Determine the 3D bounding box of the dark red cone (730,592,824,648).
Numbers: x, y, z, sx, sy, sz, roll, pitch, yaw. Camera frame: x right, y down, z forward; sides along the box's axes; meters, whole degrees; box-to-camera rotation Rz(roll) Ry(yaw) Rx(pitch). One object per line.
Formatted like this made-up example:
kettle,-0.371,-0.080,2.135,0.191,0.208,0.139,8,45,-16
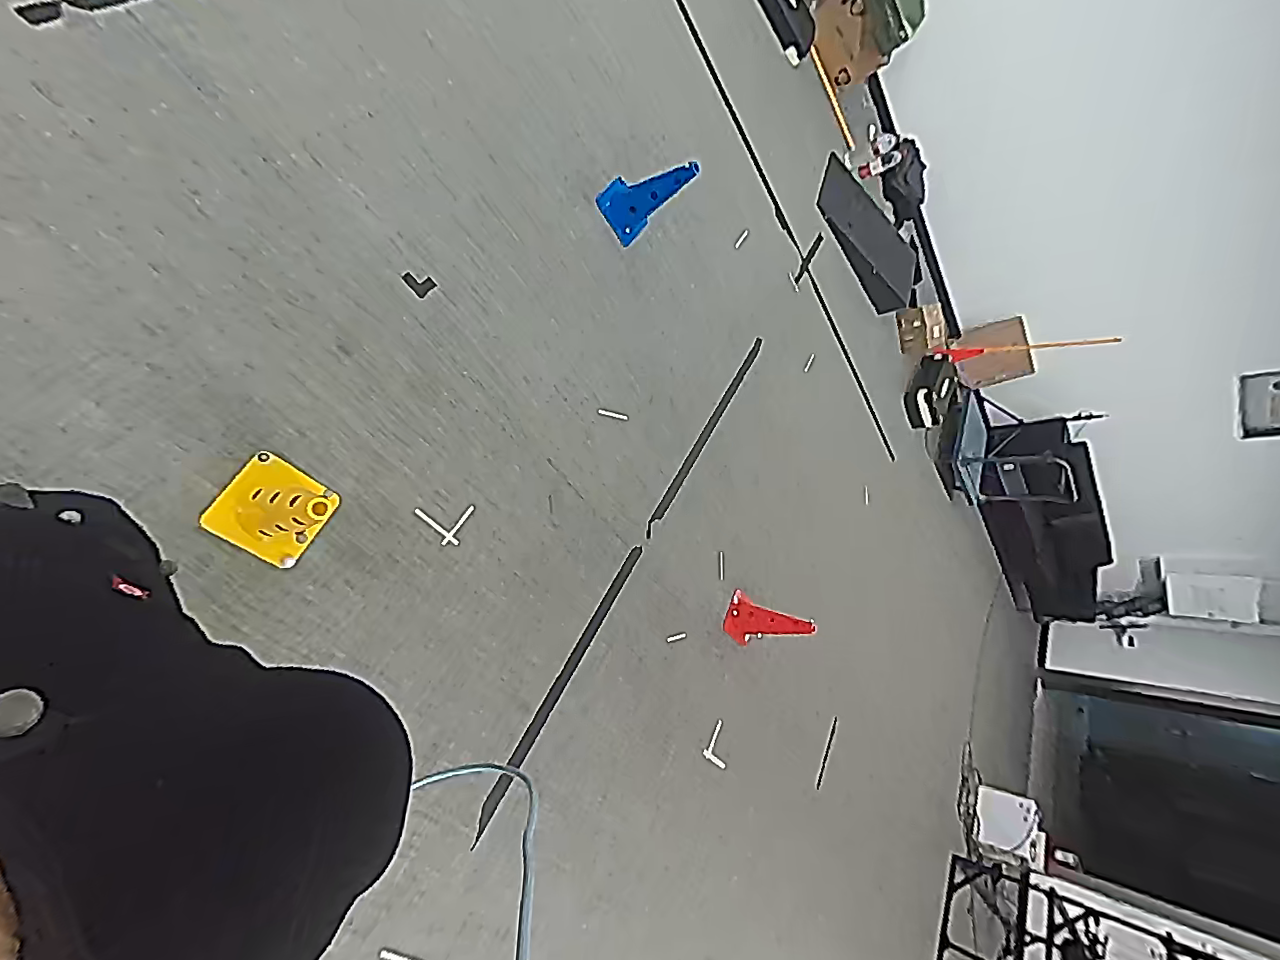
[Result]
dark red cone,0.584,0.613,2.269,0.201,0.394,0.202,43,58,-33

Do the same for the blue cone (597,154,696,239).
blue cone,0.048,-1.019,1.884,0.192,0.380,0.193,51,54,-29
